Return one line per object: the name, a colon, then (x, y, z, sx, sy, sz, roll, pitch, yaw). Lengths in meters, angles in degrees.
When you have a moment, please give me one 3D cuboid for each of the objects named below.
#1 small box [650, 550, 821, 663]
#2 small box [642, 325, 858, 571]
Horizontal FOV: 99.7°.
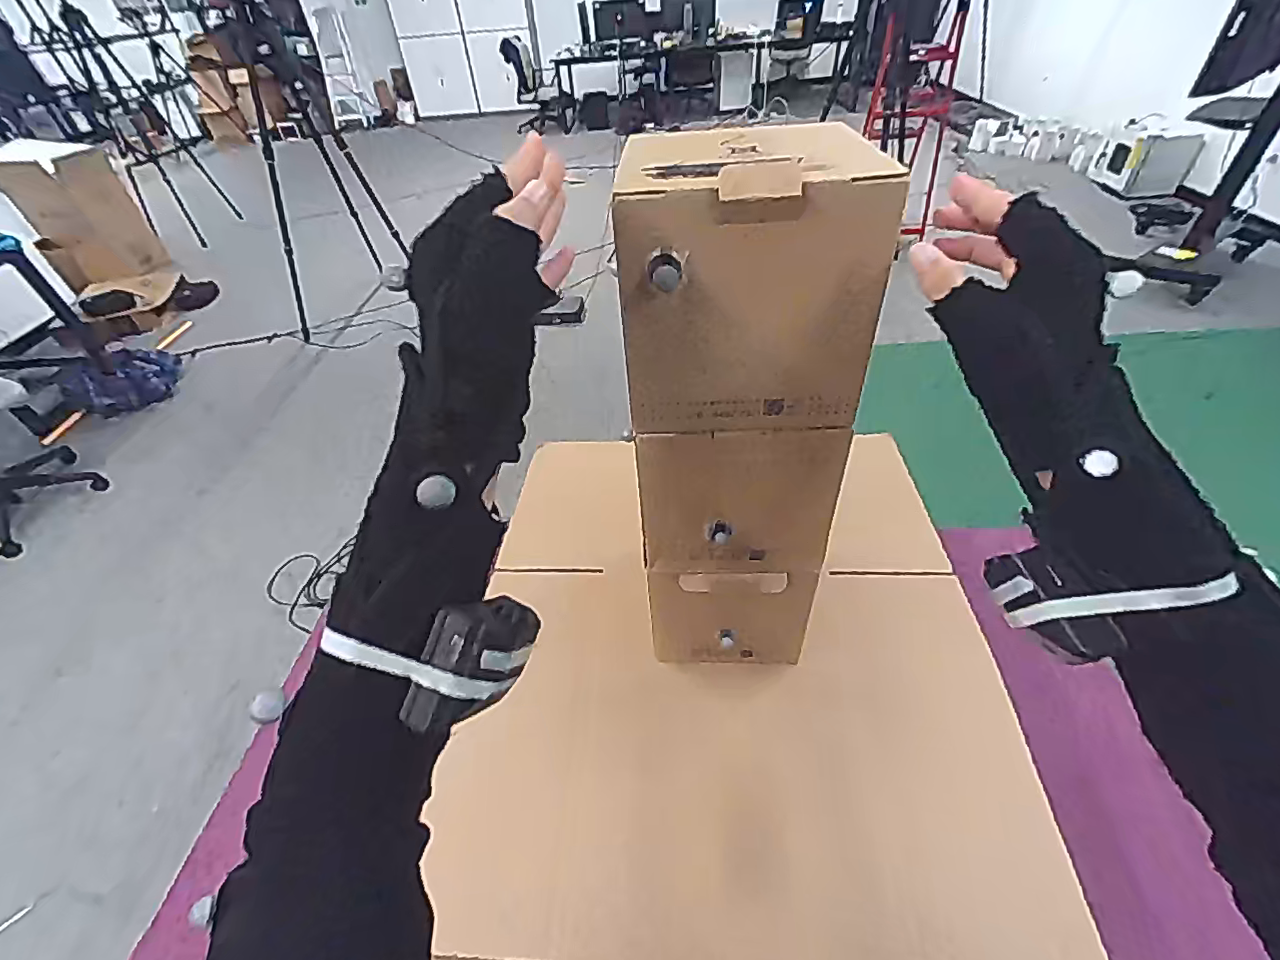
small box: (0.100, 0.089, 0.629, 0.168, 0.176, 0.179, 0, 42, 6)
small box: (0.089, -0.033, 0.521, 0.168, 0.176, 0.179, -1, 42, 4)
